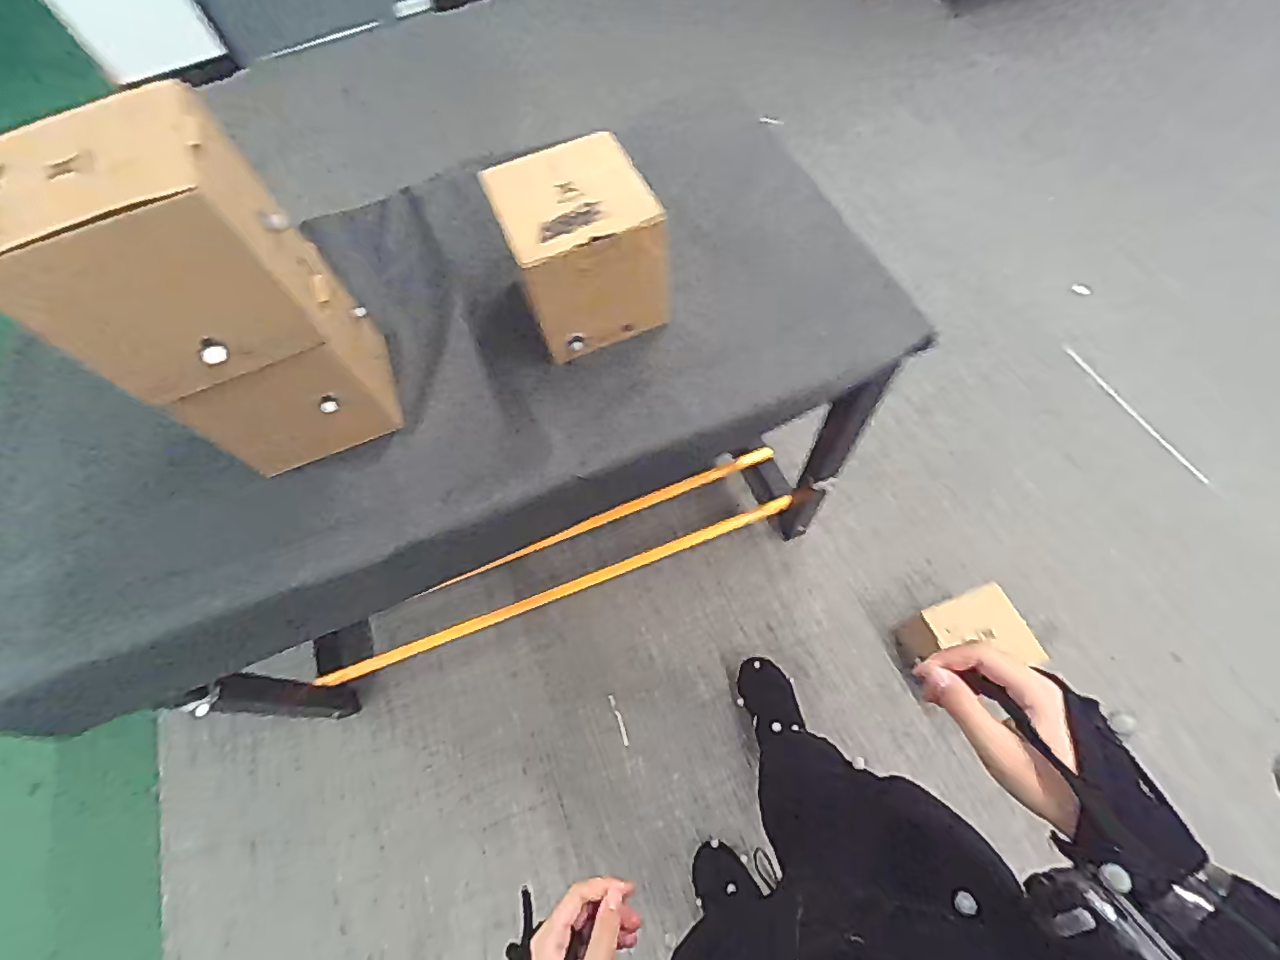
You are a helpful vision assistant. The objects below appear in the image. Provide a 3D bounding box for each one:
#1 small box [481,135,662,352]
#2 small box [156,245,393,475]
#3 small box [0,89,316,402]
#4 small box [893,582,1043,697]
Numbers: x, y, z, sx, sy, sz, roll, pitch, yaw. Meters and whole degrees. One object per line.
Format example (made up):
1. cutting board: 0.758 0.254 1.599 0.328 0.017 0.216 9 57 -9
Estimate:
1. small box: -0.078 -0.288 0.689 0.168 0.176 0.179 -22 63 -7
2. small box: -0.416 -0.134 0.641 0.179 0.176 0.168 -23 63 -6
3. small box: -0.426 -0.203 0.492 0.179 0.176 0.168 -25 63 -8
4. small box: 0.672 0.338 1.133 0.179 0.176 0.168 -21 63 -6
